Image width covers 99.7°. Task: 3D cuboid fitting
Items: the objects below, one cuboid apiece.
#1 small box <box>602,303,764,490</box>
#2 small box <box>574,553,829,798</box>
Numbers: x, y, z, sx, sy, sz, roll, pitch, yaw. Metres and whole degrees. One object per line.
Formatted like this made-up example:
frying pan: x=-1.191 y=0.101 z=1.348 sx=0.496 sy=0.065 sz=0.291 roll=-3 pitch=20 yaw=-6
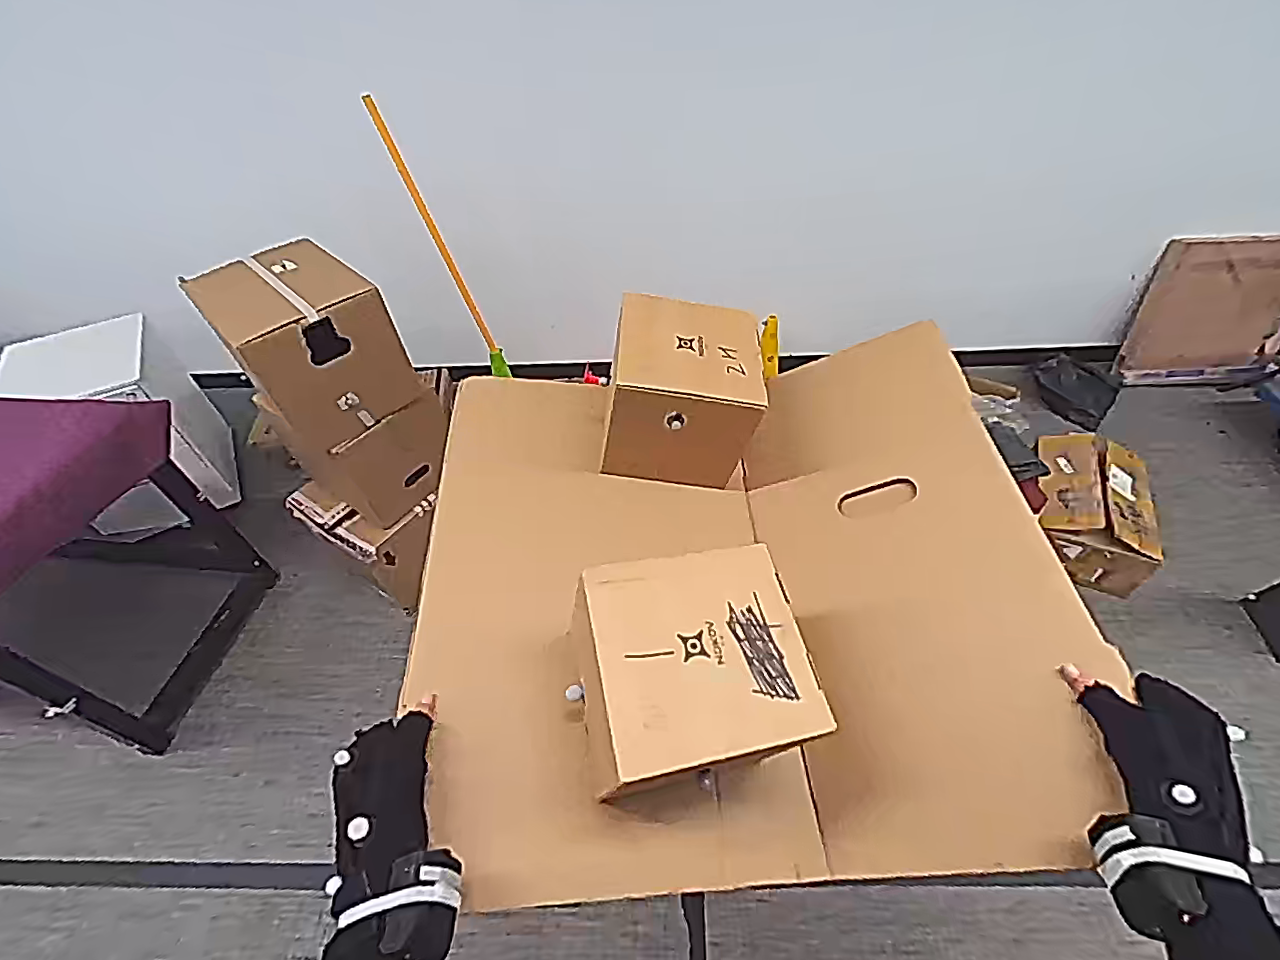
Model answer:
small box: x=0.048 y=-0.103 z=0.713 sx=0.179 sy=0.176 sz=0.168 roll=8 pitch=55 yaw=-6
small box: x=0.039 y=0.186 z=0.510 sx=0.179 sy=0.176 sz=0.168 roll=-6 pitch=57 yaw=-14
